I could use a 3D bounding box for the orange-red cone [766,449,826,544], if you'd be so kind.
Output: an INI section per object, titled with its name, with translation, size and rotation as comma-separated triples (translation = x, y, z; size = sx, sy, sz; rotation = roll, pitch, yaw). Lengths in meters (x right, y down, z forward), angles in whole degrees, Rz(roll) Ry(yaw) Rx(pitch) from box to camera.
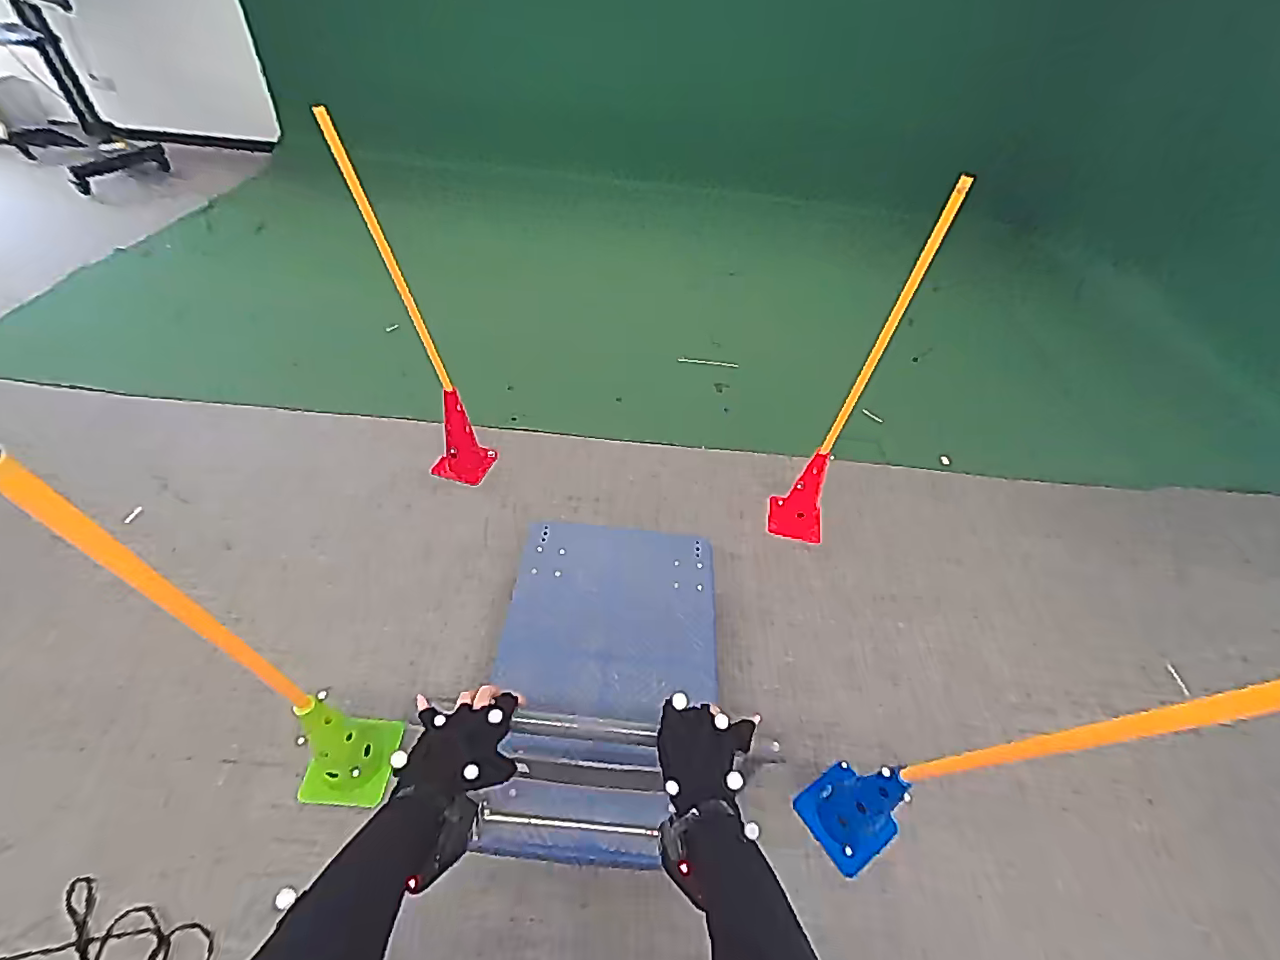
[orange-red cone]
translation = 0.593, 0.032, 1.926
size = 0.198, 0.360, 0.199
rotation = 13, 46, 7
